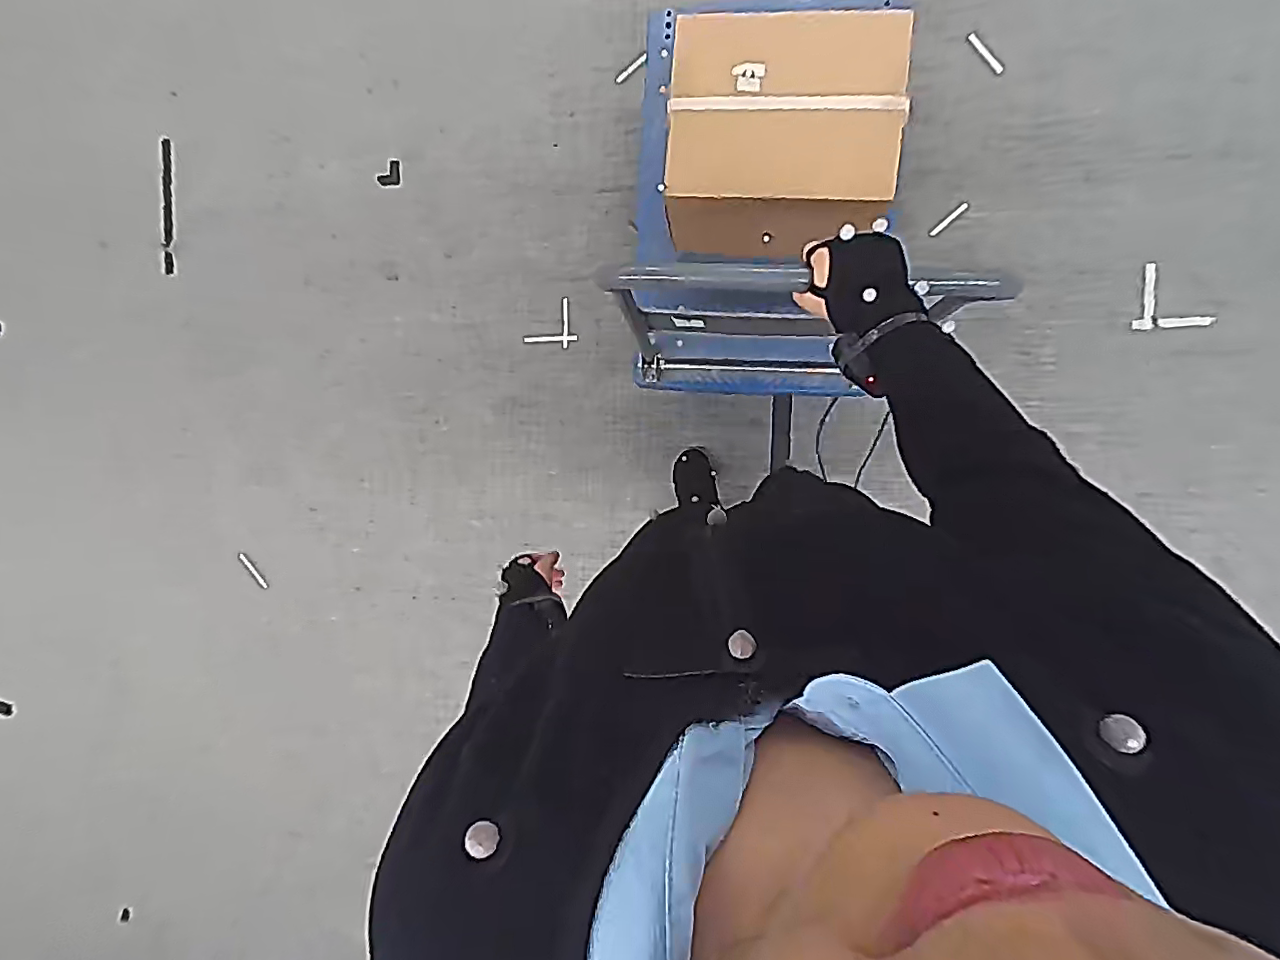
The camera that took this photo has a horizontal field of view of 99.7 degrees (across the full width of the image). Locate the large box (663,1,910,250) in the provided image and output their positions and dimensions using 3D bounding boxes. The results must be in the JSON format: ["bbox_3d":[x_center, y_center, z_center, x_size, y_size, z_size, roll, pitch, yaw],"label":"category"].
[{"bbox_3d":[0.270,-0.666,1.081,0.408,0.320,0.320,5,94,8],"label":"large box"}]
